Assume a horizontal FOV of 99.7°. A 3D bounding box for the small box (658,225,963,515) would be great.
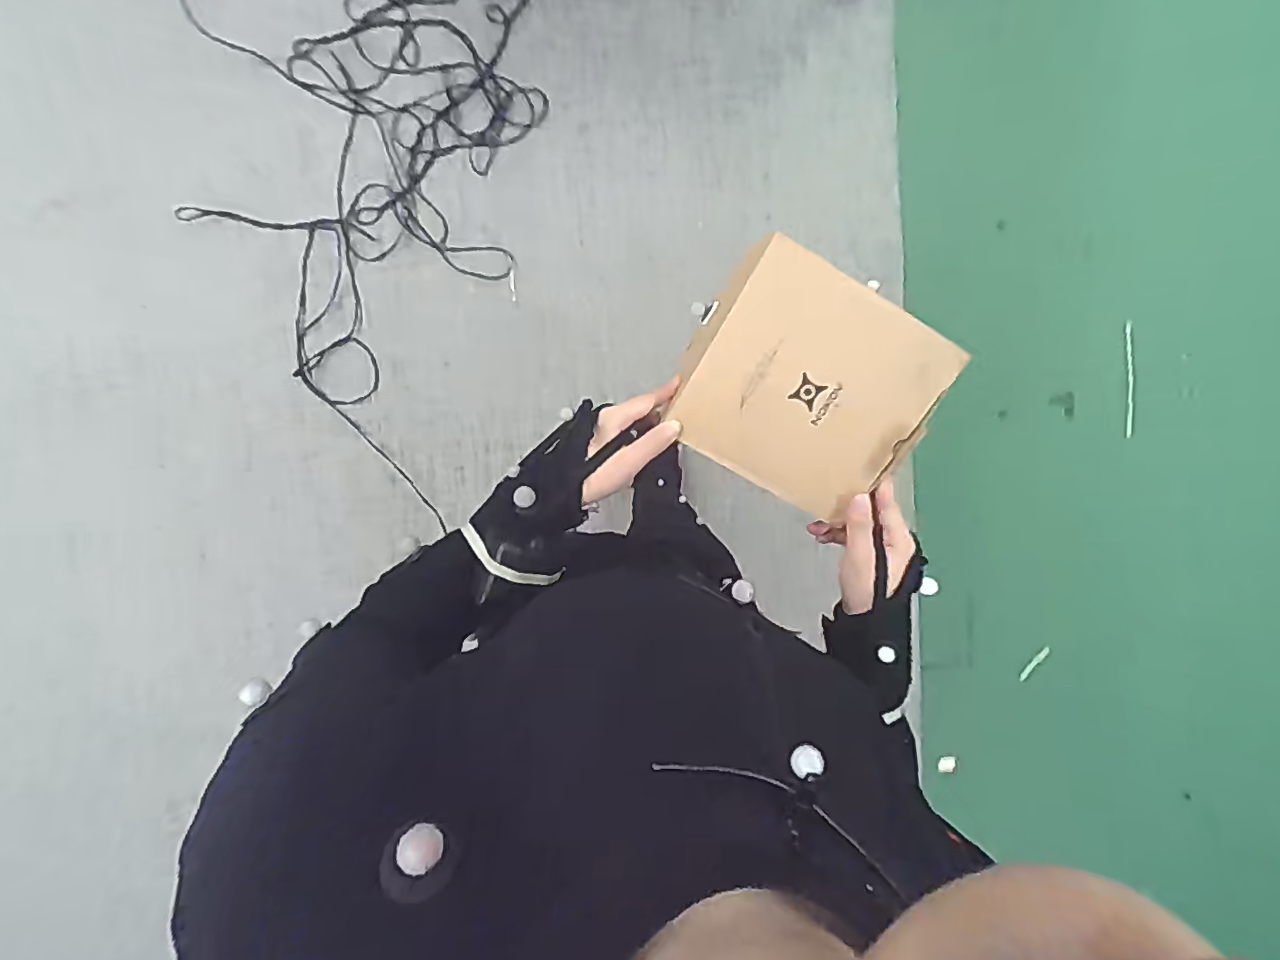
[{"bbox_3d":[0.130,-0.101,0.487,0.179,0.176,0.168,27,107,-7],"label":"small box"}]
